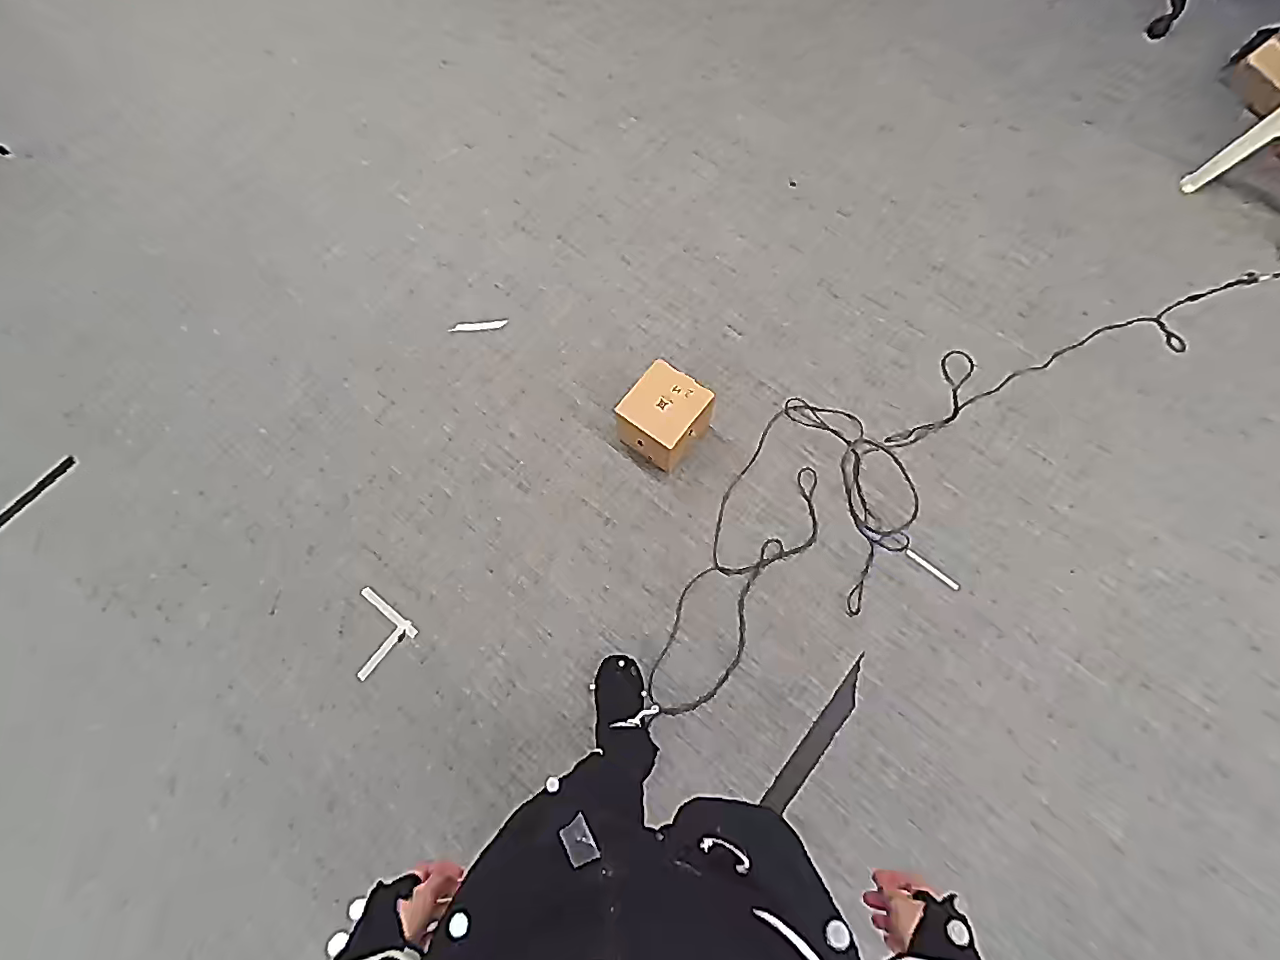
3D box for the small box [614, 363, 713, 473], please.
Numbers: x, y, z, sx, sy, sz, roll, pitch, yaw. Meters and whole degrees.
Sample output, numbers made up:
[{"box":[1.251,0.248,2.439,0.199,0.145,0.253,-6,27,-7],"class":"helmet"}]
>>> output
[{"box":[0.059,-0.143,1.321,0.168,0.176,0.179,36,76,12],"class":"small box"}]
